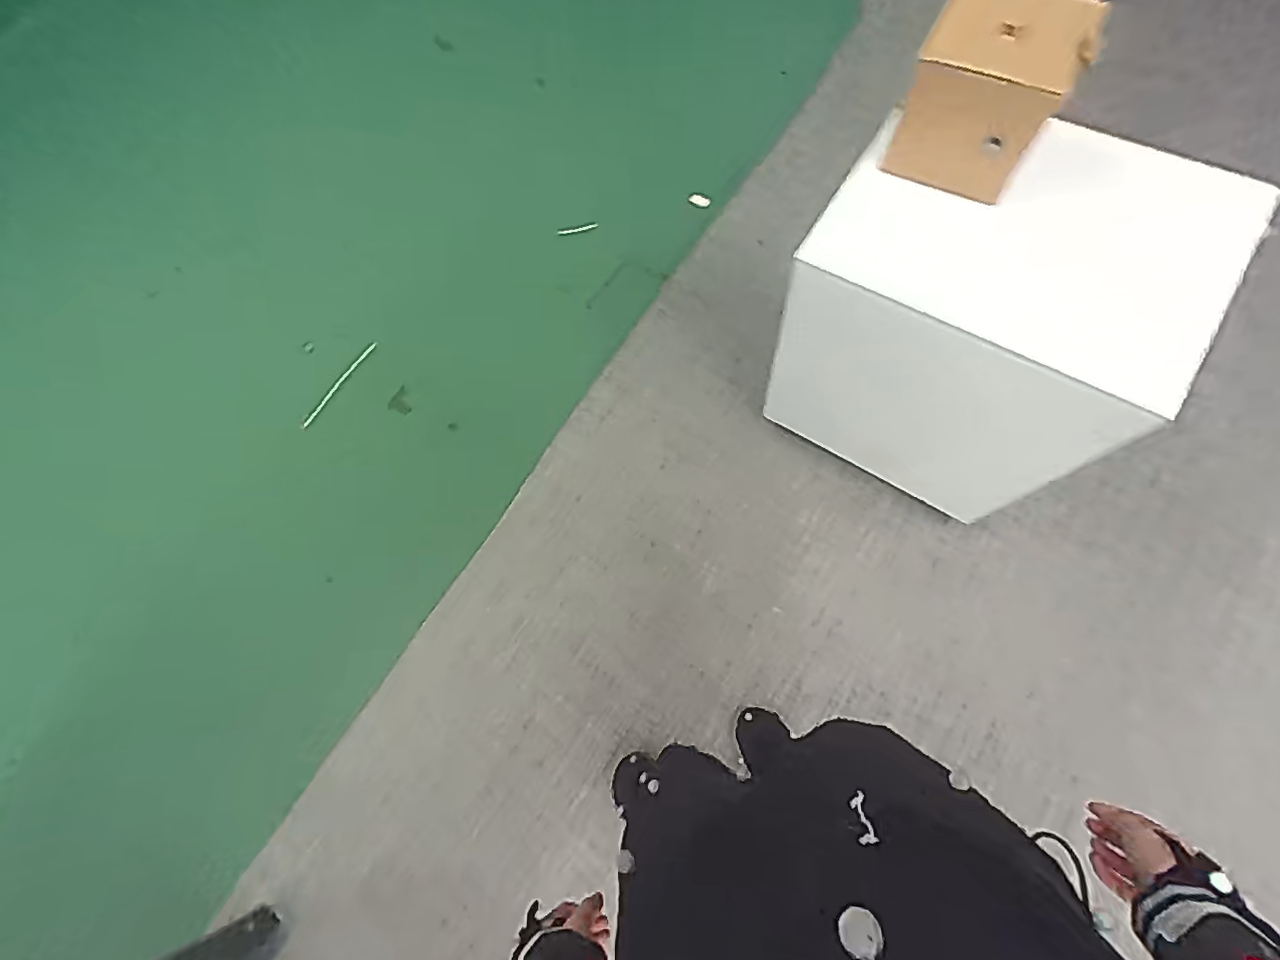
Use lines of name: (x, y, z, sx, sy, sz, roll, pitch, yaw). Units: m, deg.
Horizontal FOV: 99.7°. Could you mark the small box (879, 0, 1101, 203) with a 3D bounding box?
small box: (0.460, -0.517, 0.739, 0.179, 0.176, 0.168, 26, 76, 15)
